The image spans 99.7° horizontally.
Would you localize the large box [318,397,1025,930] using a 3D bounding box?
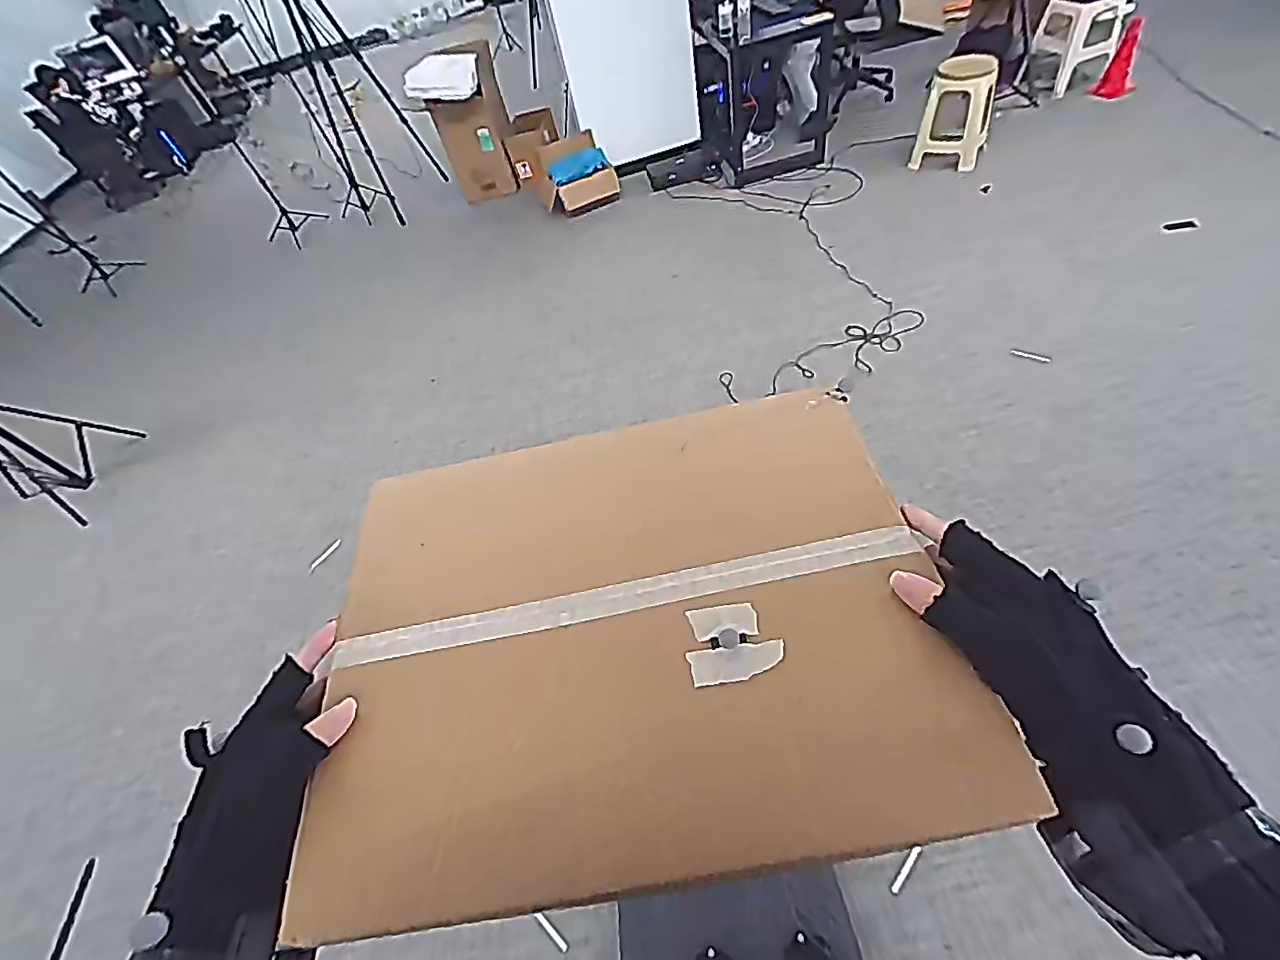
[{"bbox_3d":[0.014,0.175,0.500,0.408,0.320,0.320,-12,53,2],"label":"large box"}]
